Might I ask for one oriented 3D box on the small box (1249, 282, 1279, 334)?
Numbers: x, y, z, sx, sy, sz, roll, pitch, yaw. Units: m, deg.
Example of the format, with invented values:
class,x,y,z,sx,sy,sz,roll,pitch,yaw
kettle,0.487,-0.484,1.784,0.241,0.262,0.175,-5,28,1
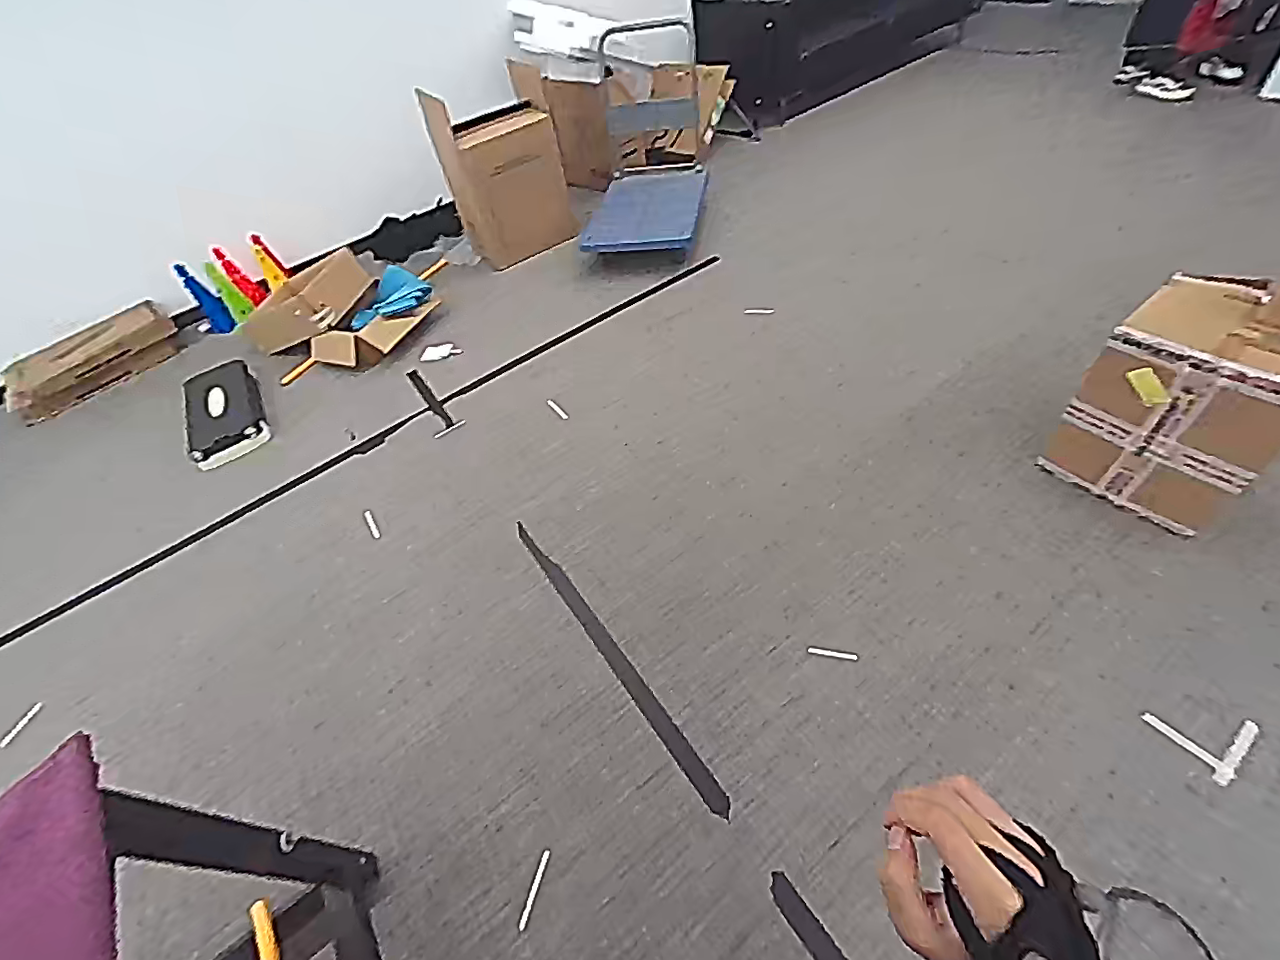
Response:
class,x,y,z,sx,sy,sz,roll,pitch,yaw
small box,1.499,-0.406,1.164,0.168,0.176,0.179,-38,55,-19
